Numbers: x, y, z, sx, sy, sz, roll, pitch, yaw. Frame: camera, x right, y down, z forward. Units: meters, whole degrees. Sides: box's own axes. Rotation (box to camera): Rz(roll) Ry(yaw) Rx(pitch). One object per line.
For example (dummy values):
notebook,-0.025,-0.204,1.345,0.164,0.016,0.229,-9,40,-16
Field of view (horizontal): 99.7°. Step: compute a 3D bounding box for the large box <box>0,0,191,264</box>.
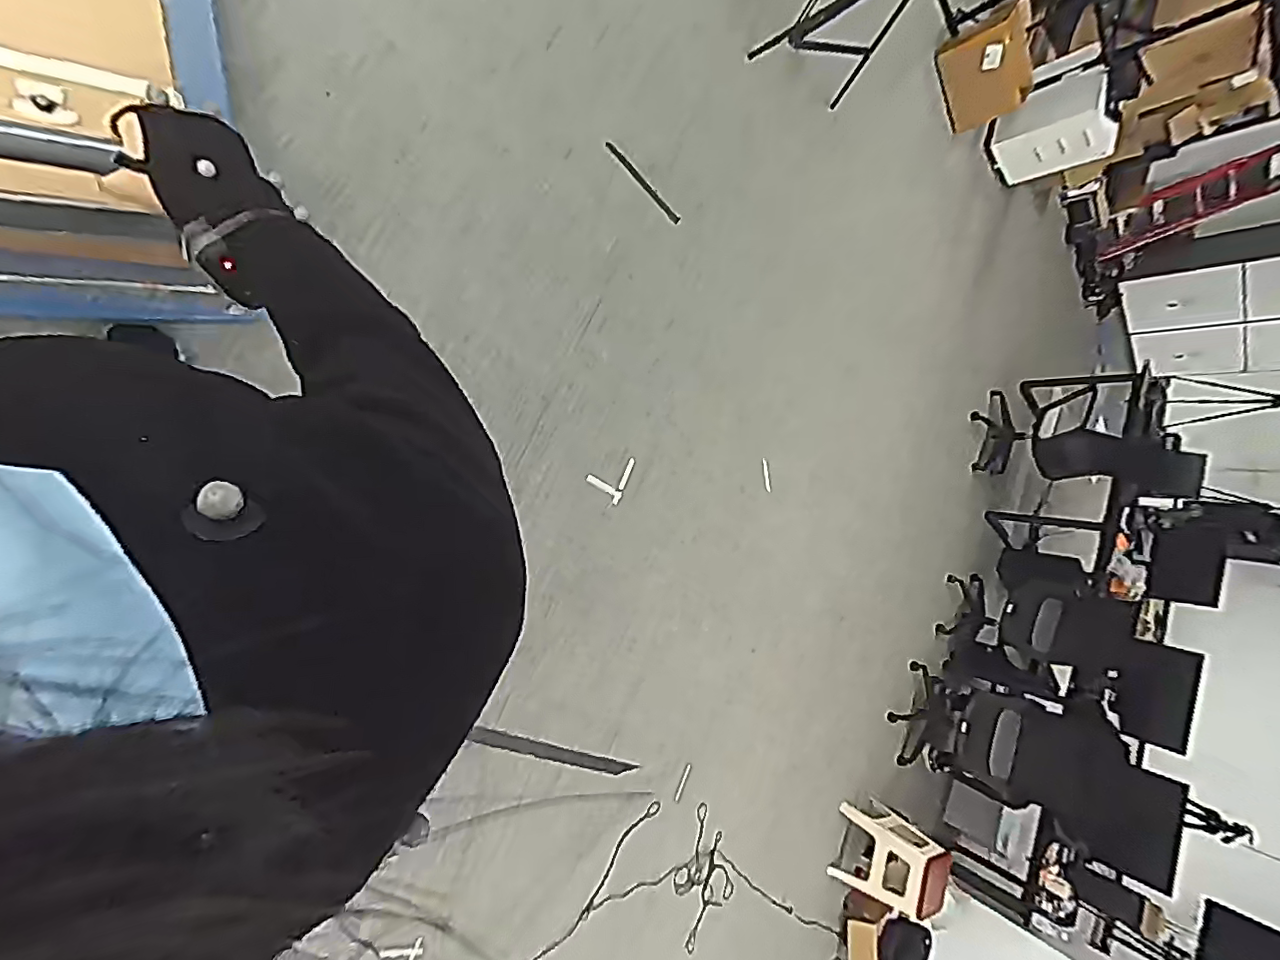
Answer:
large box,-0.908,-0.509,0.745,0.408,0.320,0.320,-10,101,-40
